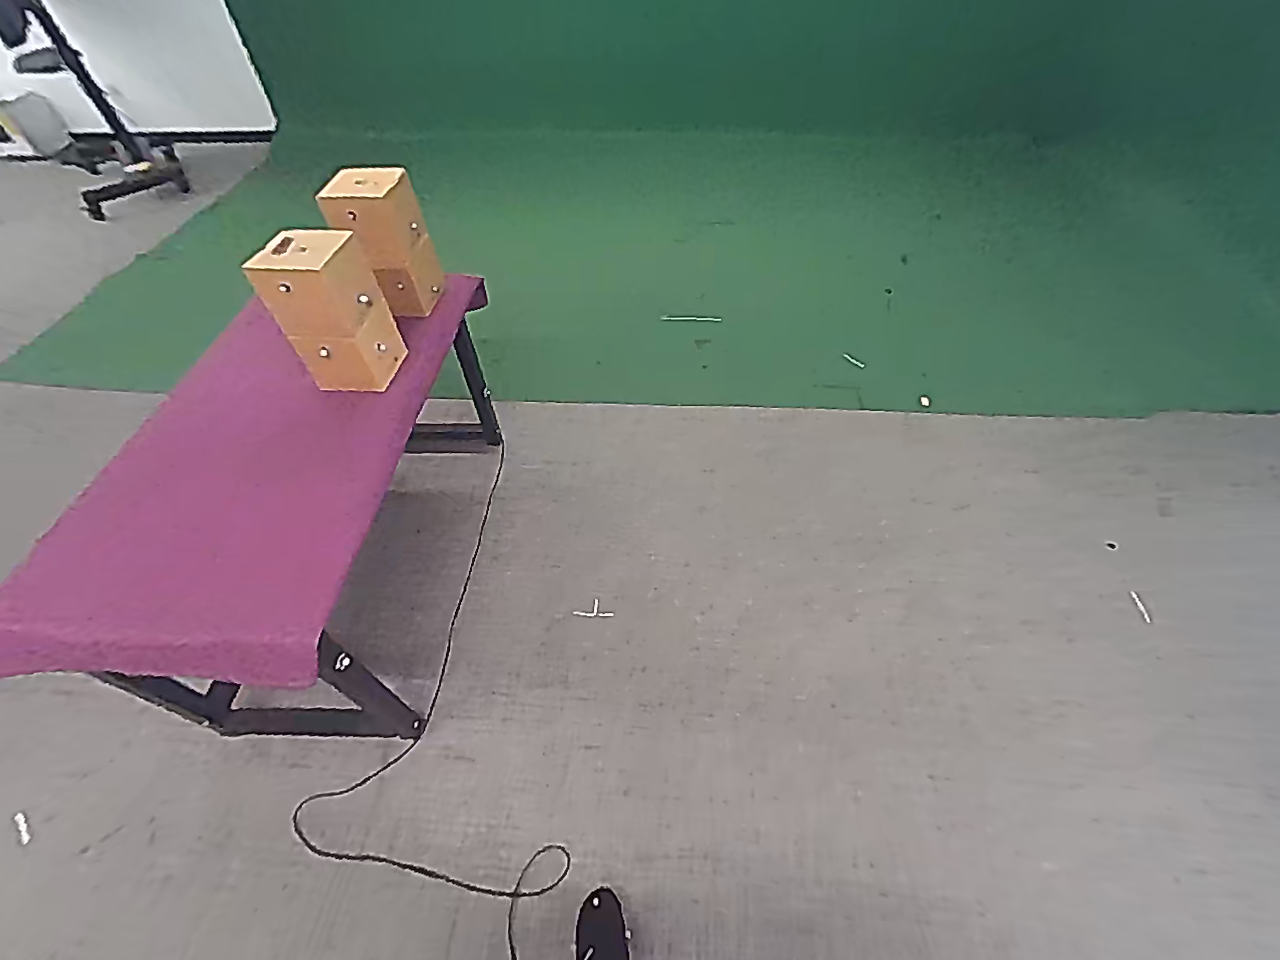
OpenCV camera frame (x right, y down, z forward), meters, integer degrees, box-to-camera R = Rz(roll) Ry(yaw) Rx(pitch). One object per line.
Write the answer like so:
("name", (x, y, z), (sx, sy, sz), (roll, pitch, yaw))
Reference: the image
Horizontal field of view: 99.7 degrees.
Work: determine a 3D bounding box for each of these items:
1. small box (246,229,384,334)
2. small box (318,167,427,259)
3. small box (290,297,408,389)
("small box", (-0.721, -0.447, 1.224), (0.179, 0.176, 0.168), (4, 52, 6))
("small box", (-0.693, -0.701, 1.425), (0.179, 0.176, 0.168), (2, 52, 4))
("small box", (-0.712, -0.342, 1.350), (0.179, 0.176, 0.168), (3, 51, 6))
